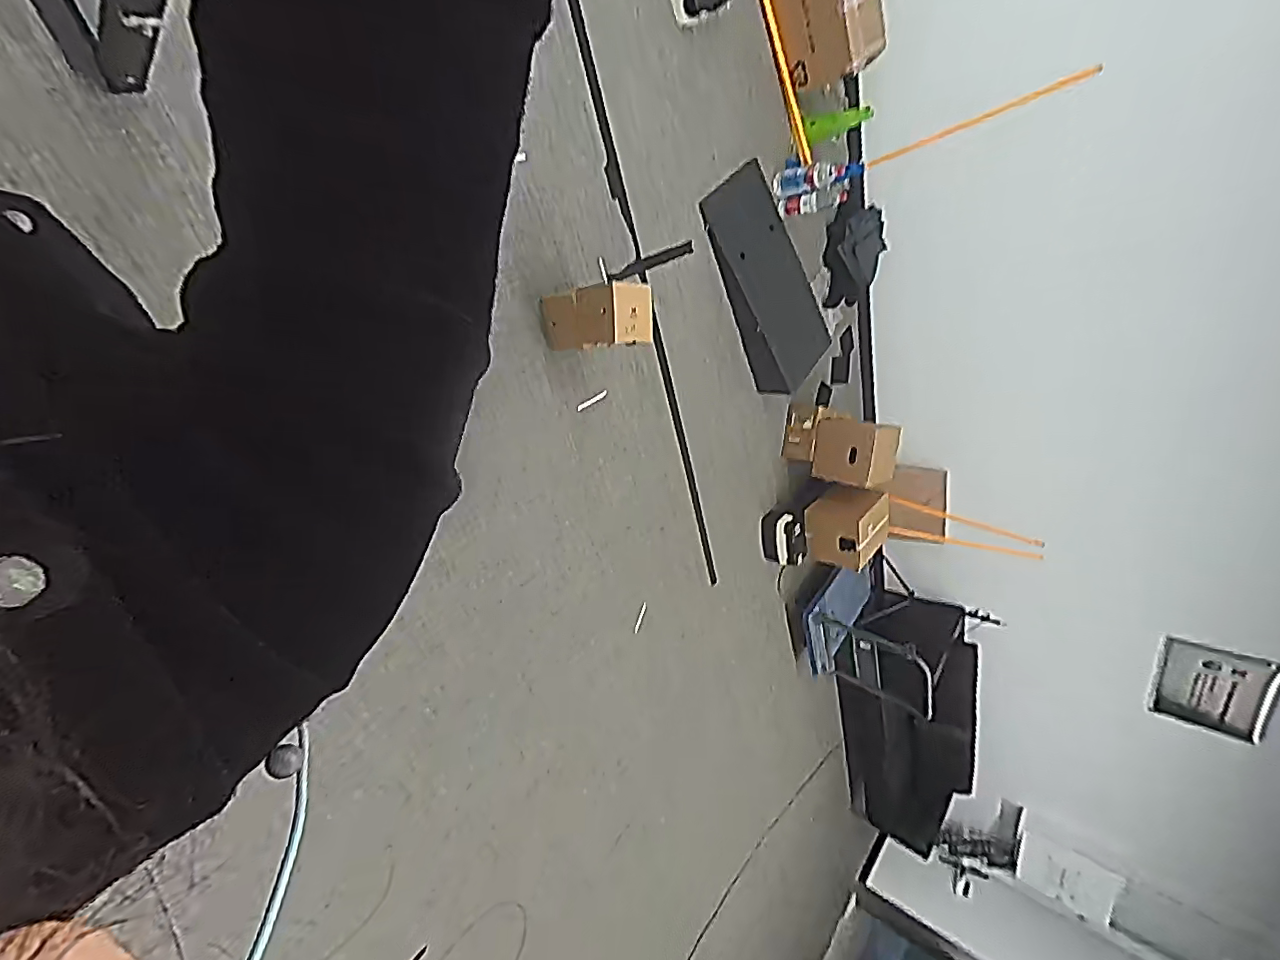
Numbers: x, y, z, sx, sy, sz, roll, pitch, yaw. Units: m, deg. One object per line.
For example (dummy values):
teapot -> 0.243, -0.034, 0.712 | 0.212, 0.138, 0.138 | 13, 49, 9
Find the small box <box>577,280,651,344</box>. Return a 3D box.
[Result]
small box -> -0.082, -0.518, 1.680 | 0.168, 0.176, 0.179 | -16, 110, -43

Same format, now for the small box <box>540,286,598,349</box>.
small box -> -0.204, -0.542, 1.790 | 0.168, 0.176, 0.179 | -32, 122, -39
